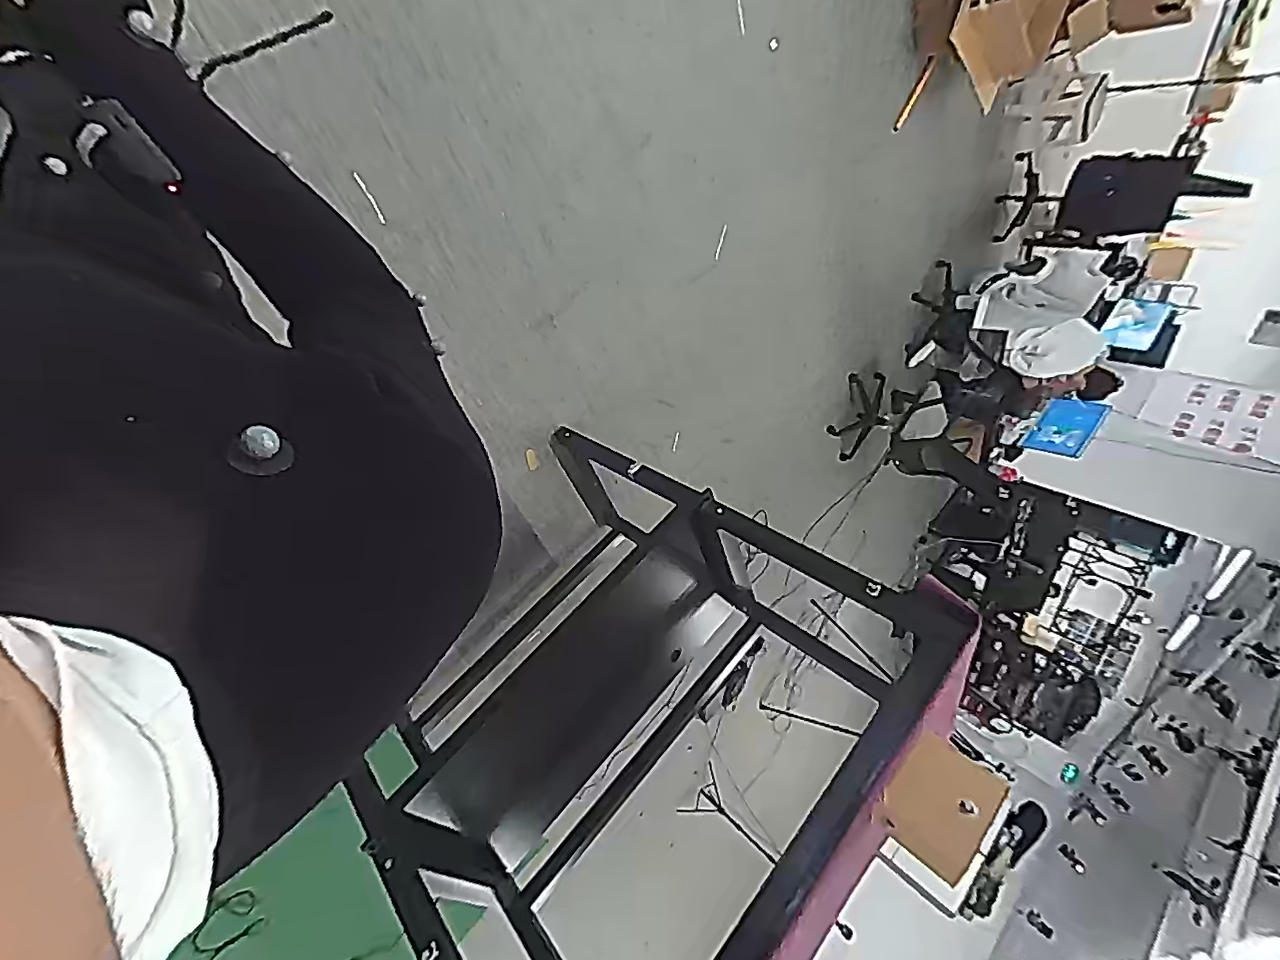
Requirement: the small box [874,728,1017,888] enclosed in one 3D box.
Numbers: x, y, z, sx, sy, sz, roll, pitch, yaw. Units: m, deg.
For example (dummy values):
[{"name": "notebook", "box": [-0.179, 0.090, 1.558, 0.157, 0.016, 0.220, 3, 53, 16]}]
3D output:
[{"name": "small box", "box": [0.567, 0.610, 1.020, 0.179, 0.176, 0.168, -42, 136, -22]}]
